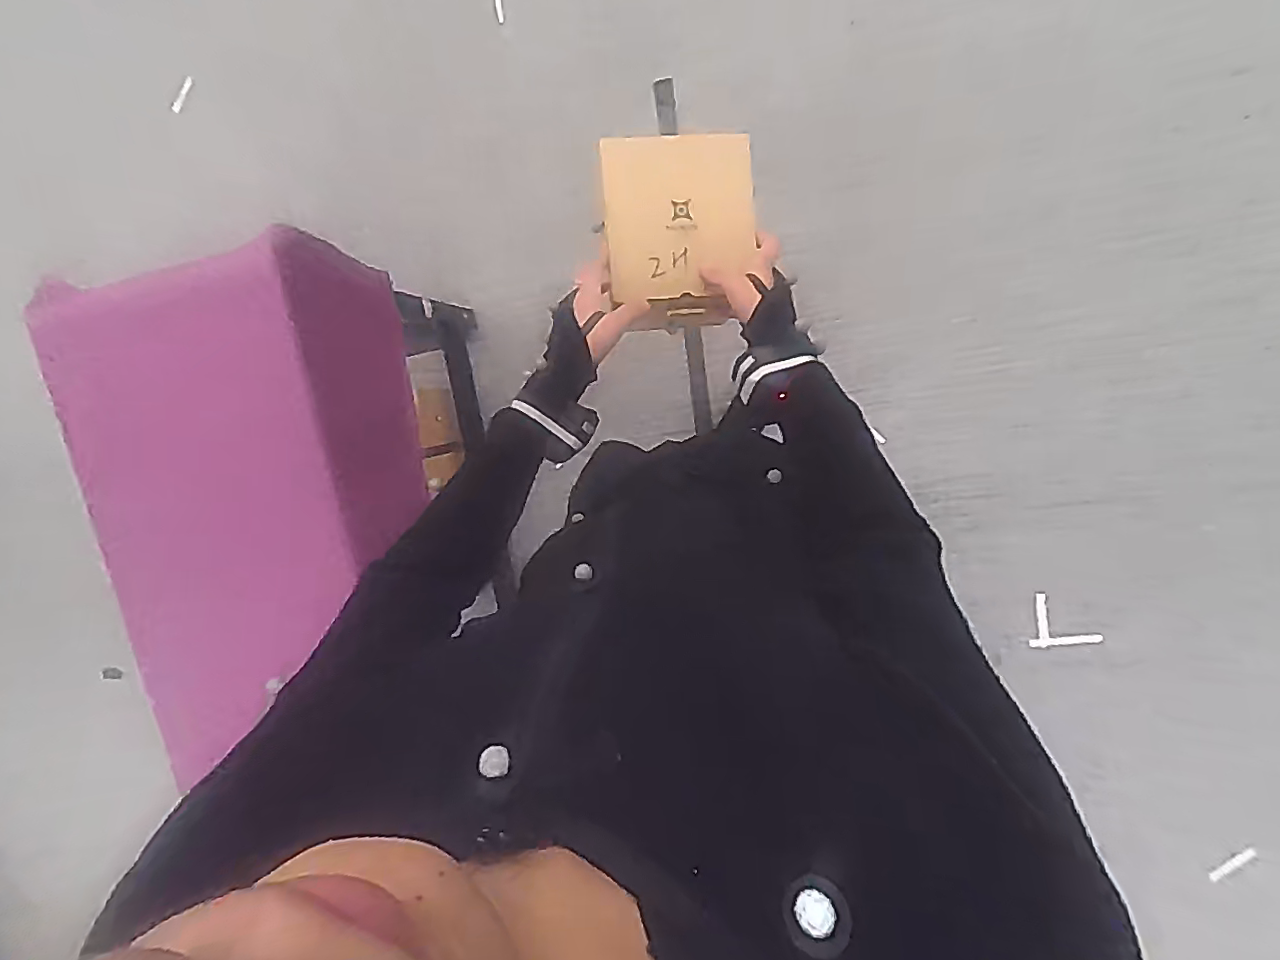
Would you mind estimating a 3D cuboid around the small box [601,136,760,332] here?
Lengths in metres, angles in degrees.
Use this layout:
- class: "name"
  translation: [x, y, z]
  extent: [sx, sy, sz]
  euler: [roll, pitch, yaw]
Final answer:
- class: "small box"
  translation: [0.040, -0.291, 0.670]
  extent: [0.168, 0.176, 0.179]
  euler: [-5, 96, -4]
